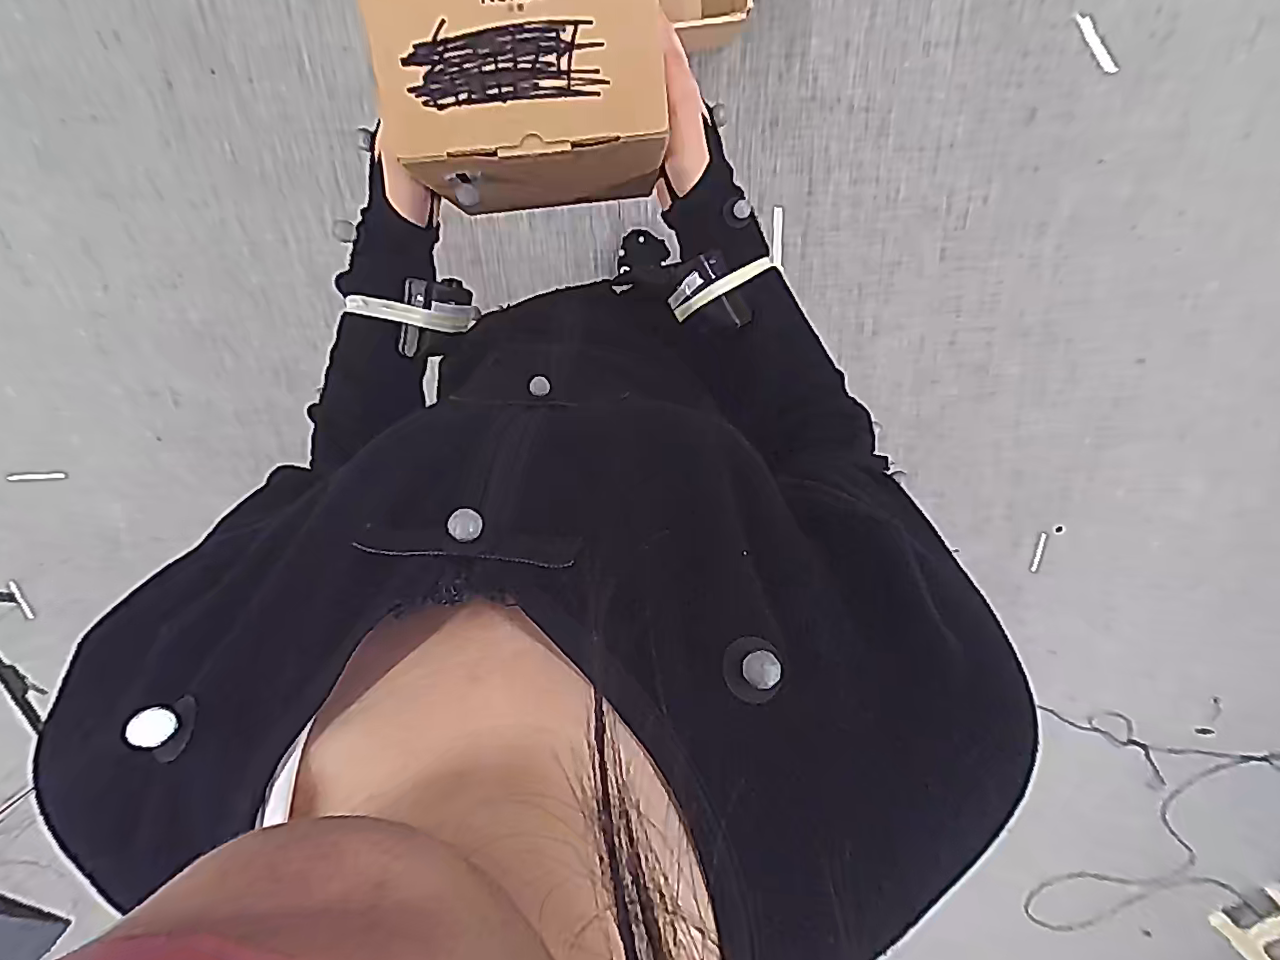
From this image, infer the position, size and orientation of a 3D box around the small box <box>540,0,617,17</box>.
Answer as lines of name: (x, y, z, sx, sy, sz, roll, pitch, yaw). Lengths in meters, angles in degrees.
small box: (-0.130, -1.008, 0.998, 0.168, 0.176, 0.179, -11, 114, 3)
